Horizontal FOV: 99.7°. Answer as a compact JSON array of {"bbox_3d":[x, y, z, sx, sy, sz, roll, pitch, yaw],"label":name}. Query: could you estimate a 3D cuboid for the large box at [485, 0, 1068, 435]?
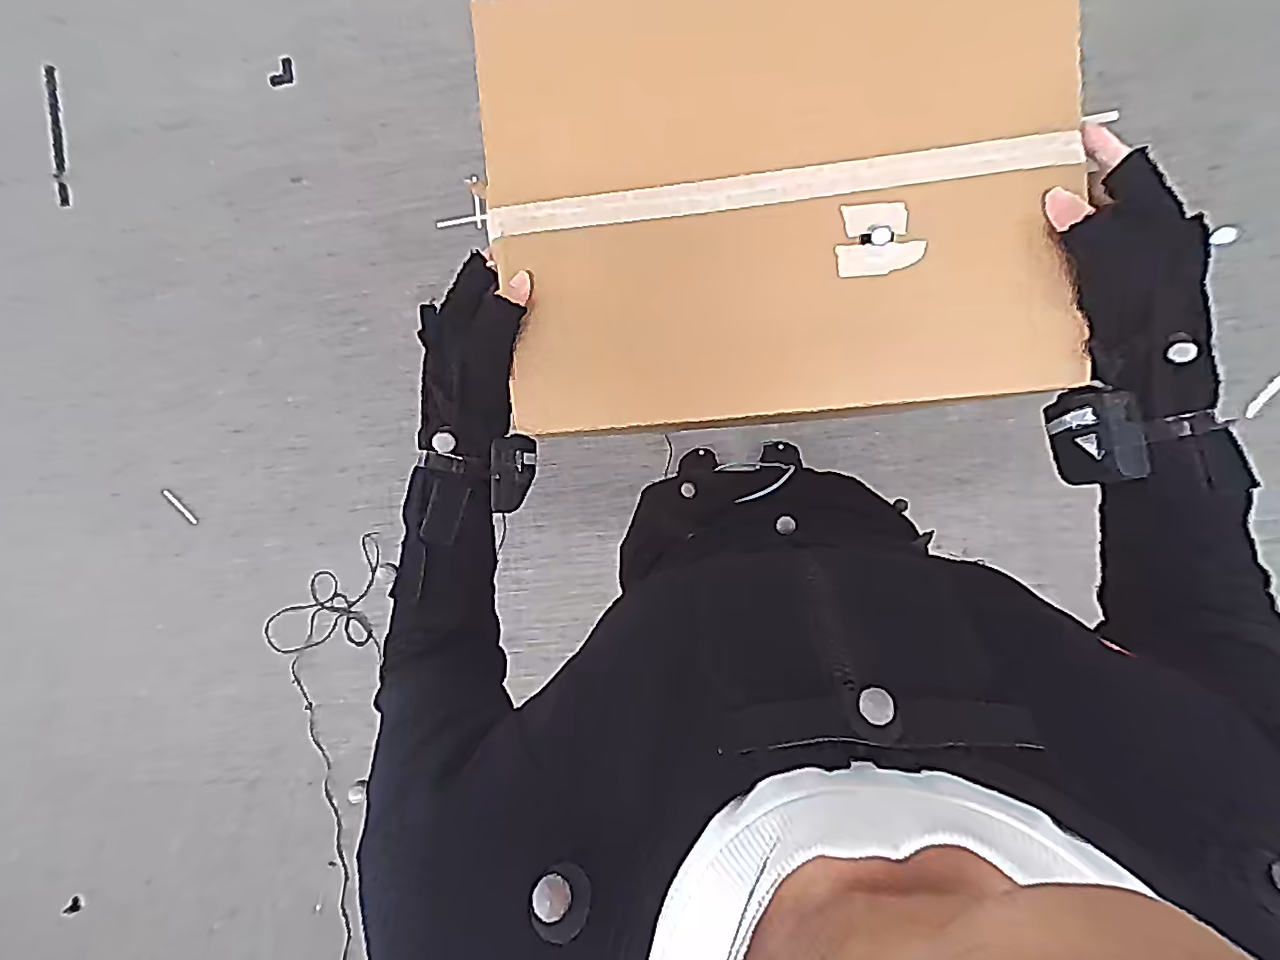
[{"bbox_3d":[0.104,-0.220,0.541,0.408,0.320,0.320,-5,94,4],"label":"large box"}]
